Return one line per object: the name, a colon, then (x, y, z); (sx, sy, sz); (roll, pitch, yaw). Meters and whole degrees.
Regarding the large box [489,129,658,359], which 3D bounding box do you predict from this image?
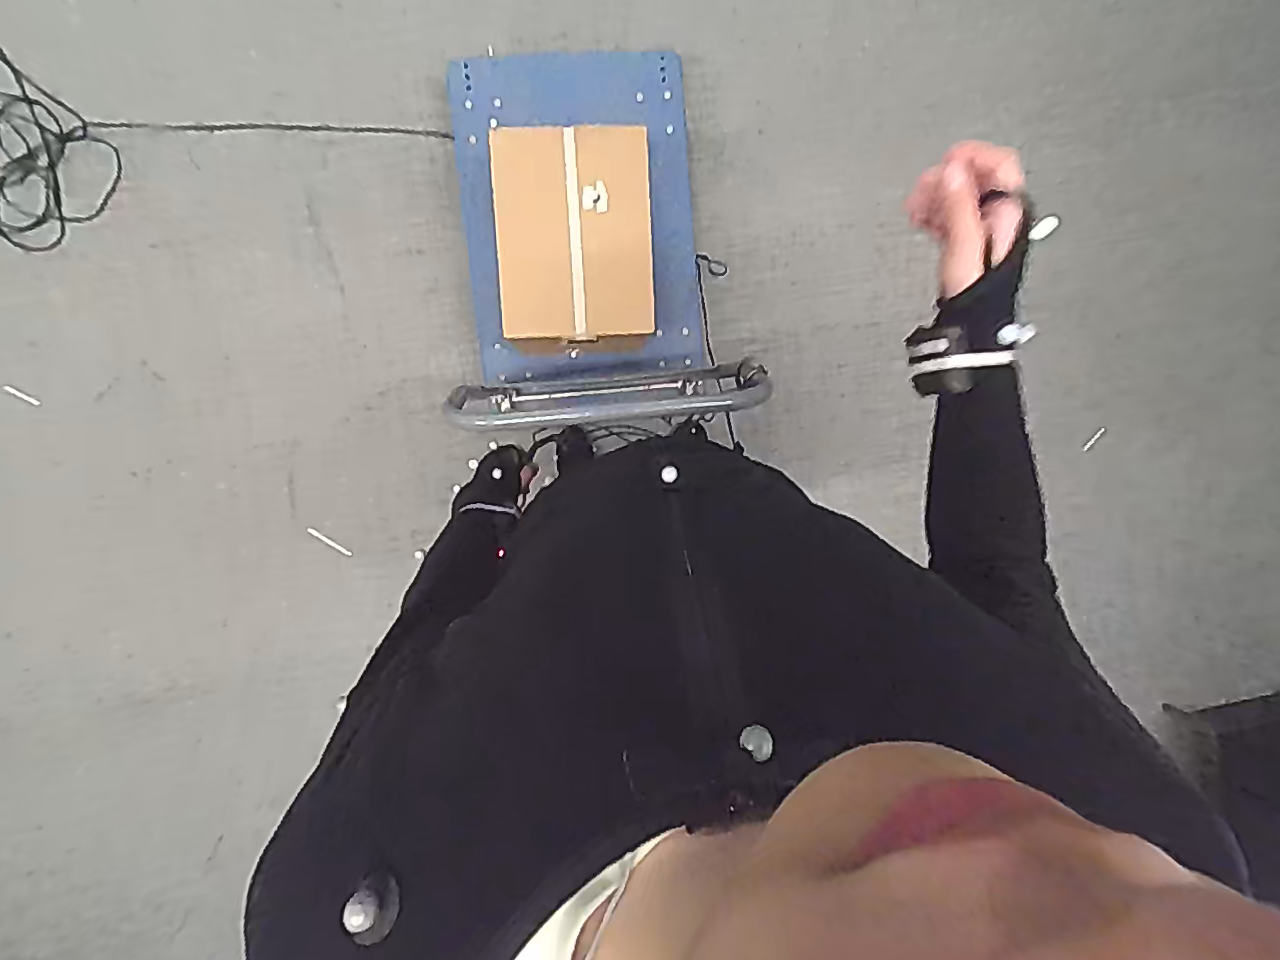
large box: (-0.139, -0.502, 1.224); (0.320, 0.320, 0.408); (-3, 96, -5)
